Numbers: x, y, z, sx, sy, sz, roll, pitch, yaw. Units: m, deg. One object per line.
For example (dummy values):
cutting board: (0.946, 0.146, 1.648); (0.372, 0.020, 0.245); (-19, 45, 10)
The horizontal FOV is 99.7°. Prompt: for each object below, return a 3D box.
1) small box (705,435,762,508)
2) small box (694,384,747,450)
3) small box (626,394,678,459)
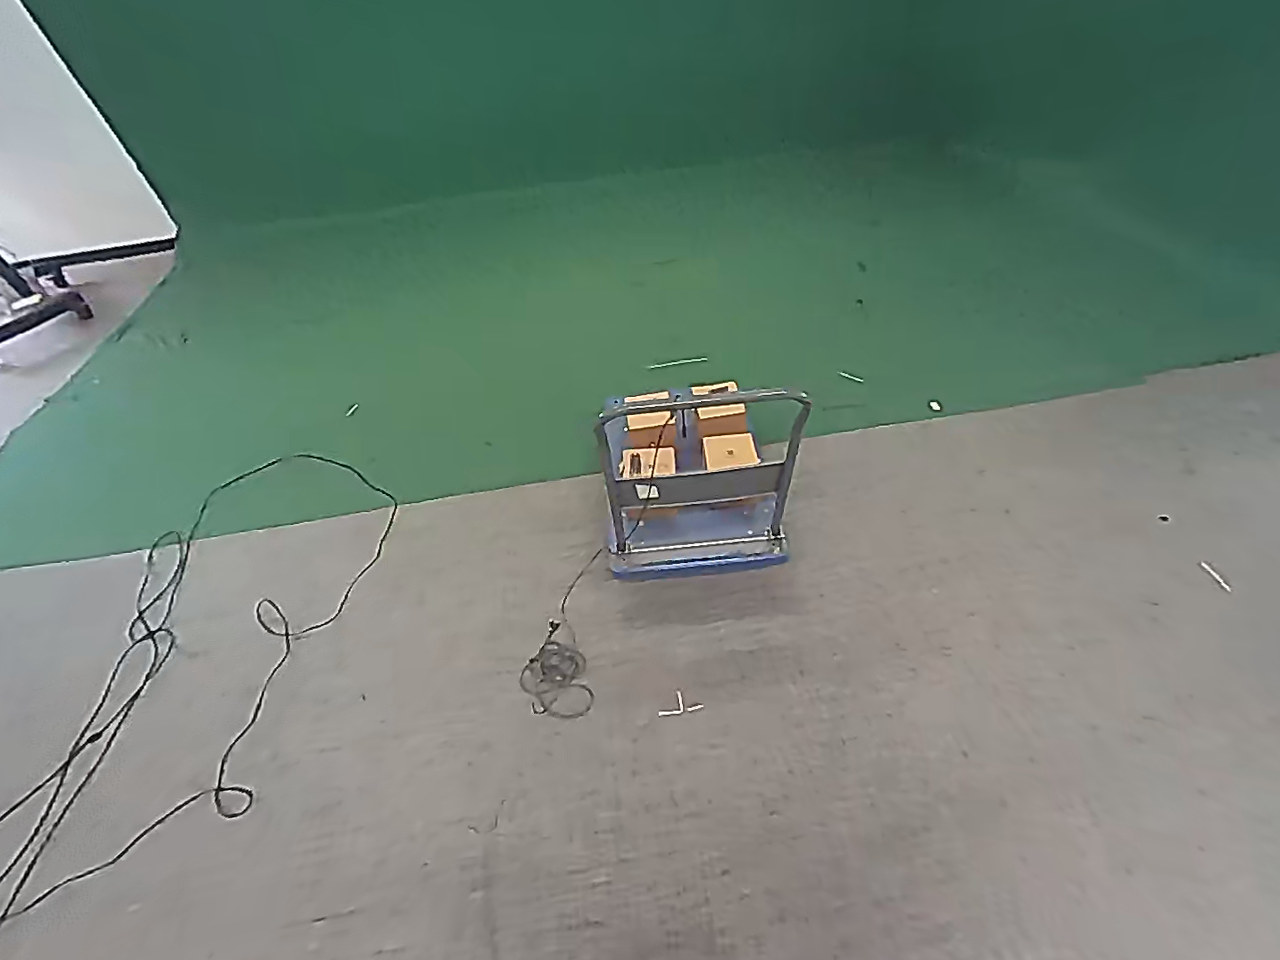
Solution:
small box: (0.311, -0.028, 1.832); (0.168, 0.176, 0.179); (-5, 49, 2)
small box: (0.295, -0.230, 2.010); (0.168, 0.176, 0.179); (-9, 49, 0)
small box: (0.046, -0.191, 2.006); (0.168, 0.176, 0.179); (-8, 48, -1)
